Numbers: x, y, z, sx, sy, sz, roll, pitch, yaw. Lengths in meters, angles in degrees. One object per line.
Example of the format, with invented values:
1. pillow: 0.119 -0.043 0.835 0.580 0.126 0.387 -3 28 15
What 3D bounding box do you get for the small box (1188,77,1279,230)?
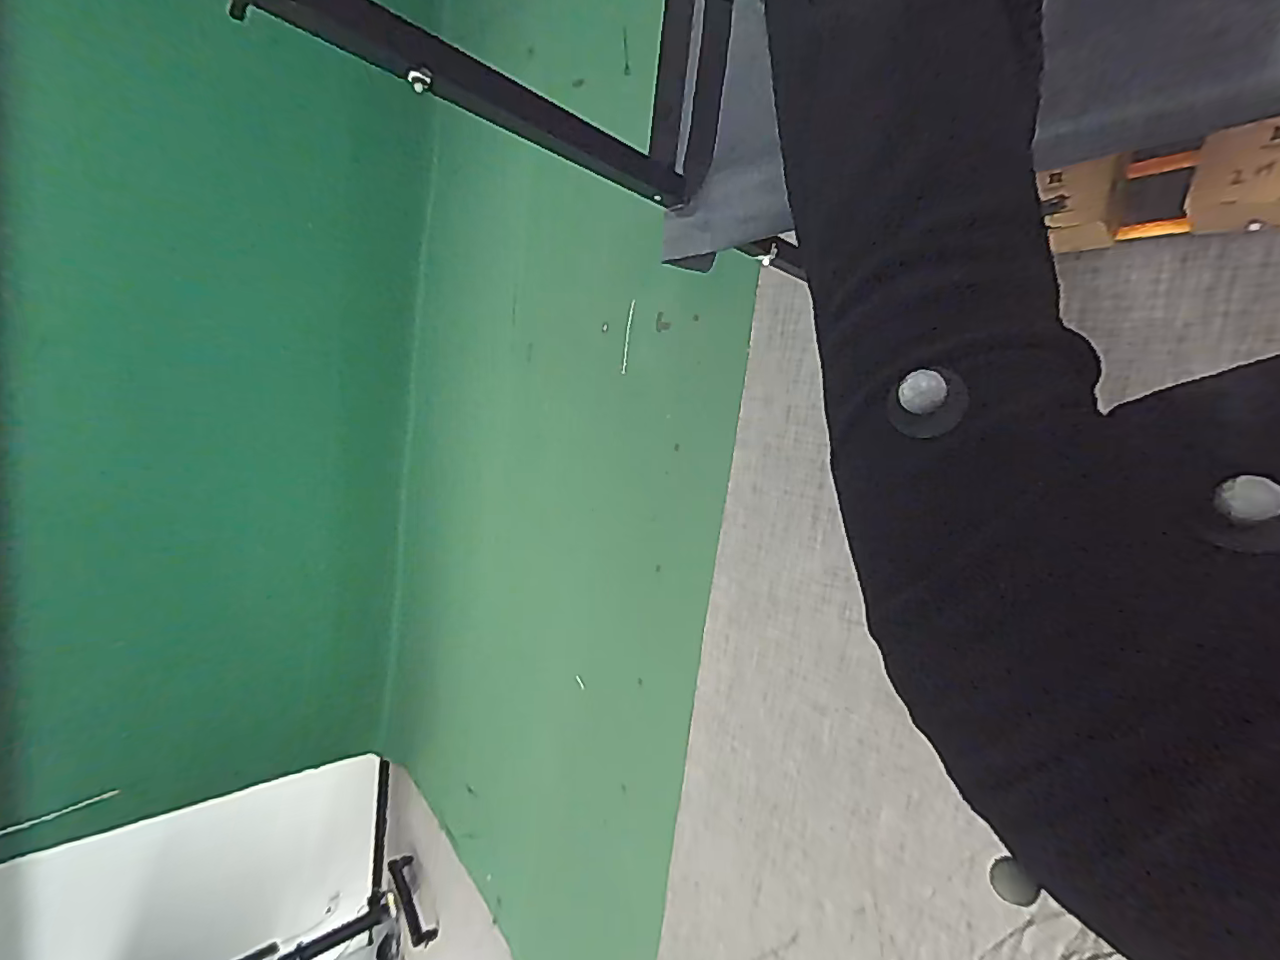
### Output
1. small box: 1.040 -0.529 0.882 0.168 0.176 0.179 21 107 47
